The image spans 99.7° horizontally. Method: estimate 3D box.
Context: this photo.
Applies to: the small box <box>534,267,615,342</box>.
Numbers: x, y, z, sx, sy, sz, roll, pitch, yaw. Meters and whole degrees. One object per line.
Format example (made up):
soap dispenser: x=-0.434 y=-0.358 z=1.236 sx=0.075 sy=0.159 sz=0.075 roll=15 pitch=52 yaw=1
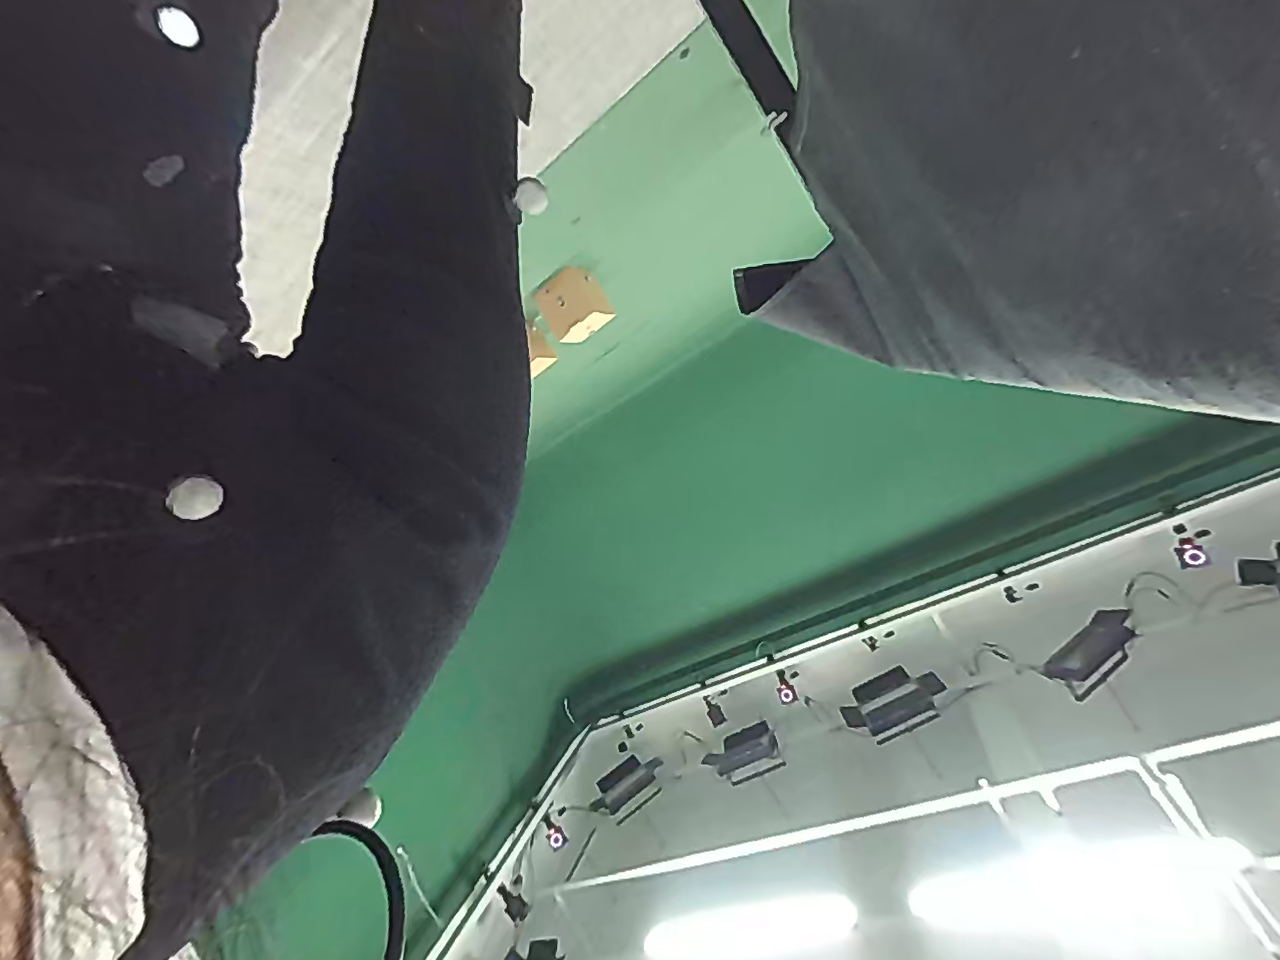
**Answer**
small box: x=-0.217 y=-0.578 z=1.785 sx=0.168 sy=0.176 sz=0.179 roll=-30 pitch=180 yaw=24
